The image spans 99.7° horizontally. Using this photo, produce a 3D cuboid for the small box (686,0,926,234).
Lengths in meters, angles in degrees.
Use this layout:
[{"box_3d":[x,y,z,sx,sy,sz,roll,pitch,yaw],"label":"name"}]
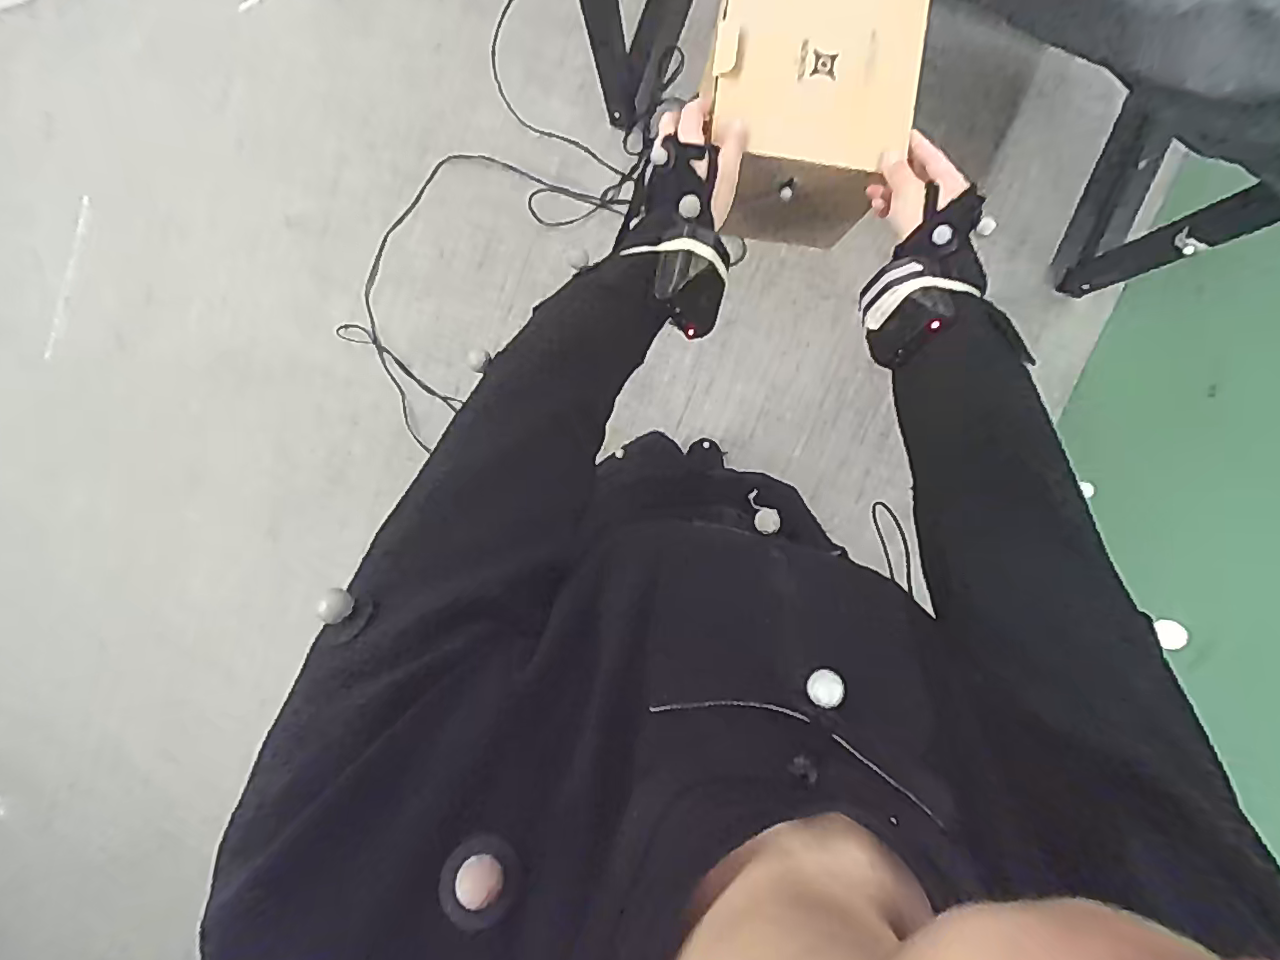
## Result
[{"box_3d":[0.146,-0.363,0.533,0.179,0.176,0.168,6,93,-3],"label":"small box"}]
